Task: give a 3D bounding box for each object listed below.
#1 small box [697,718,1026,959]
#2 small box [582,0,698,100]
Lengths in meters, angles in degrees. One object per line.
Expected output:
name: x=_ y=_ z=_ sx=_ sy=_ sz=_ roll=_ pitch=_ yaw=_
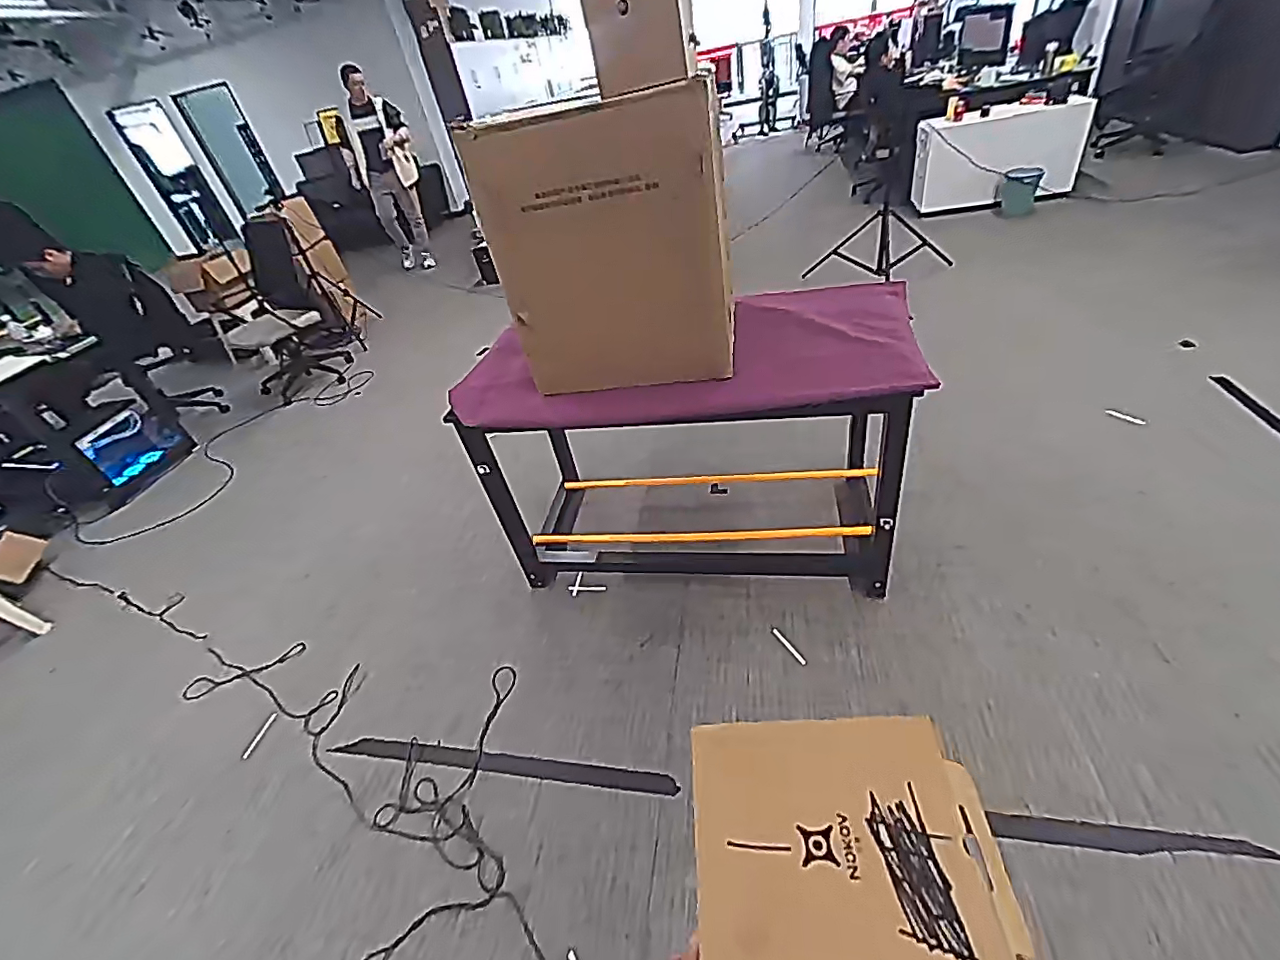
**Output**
small box: x=0.137 y=0.292 z=0.392 sx=0.179 sy=0.176 sz=0.168 roll=-6 pitch=40 yaw=8
small box: x=0.007 y=-0.847 z=1.029 sx=0.179 sy=0.176 sz=0.168 roll=-3 pitch=40 yaw=15
